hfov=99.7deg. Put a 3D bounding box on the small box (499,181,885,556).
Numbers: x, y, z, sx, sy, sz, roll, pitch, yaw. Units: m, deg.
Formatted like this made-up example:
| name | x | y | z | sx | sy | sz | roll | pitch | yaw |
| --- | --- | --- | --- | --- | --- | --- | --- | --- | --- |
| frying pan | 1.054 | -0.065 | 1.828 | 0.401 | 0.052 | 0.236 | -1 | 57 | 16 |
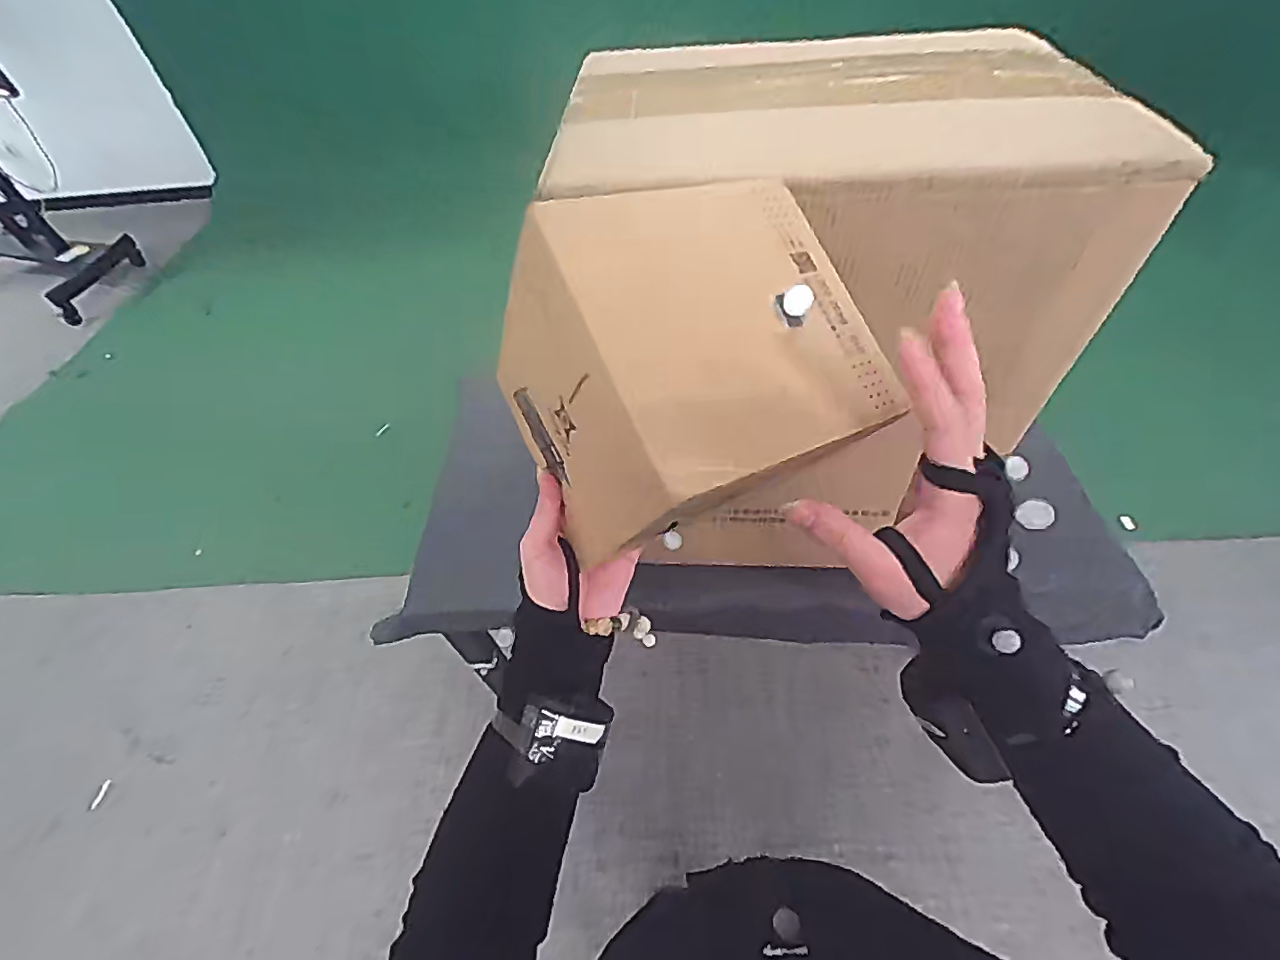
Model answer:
| name | x | y | z | sx | sy | sz | roll | pitch | yaw |
| --- | --- | --- | --- | --- | --- | --- | --- | --- | --- |
| small box | 0.019 | -0.064 | 0.363 | 0.176 | 0.179 | 0.168 | -22 | 83 | -23 |
